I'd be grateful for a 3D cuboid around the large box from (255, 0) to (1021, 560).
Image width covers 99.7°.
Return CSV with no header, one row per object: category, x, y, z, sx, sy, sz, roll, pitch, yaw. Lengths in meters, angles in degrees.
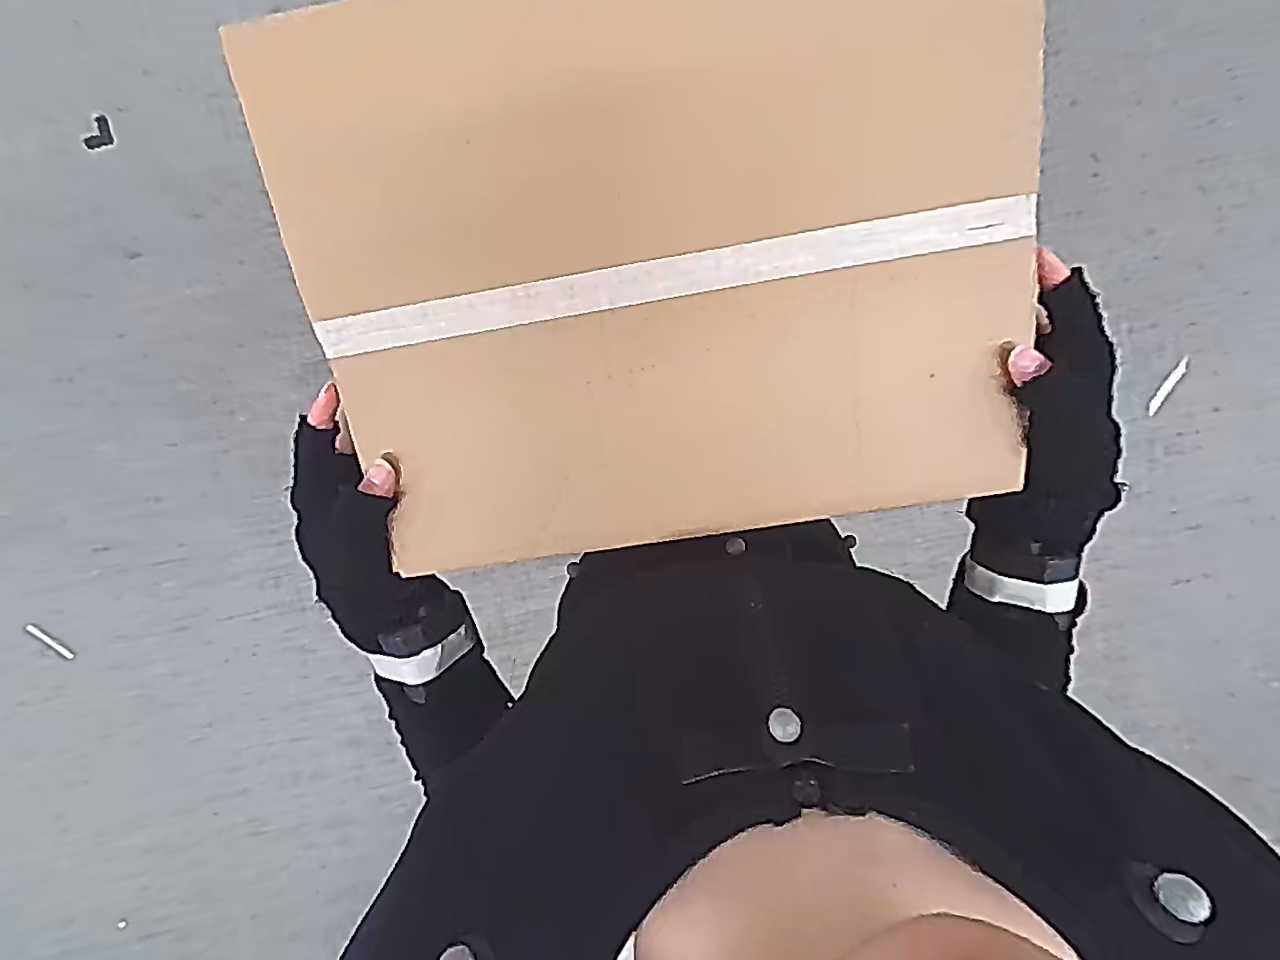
large box,0.014,-0.162,0.457,0.408,0.320,0.320,-9,108,3
